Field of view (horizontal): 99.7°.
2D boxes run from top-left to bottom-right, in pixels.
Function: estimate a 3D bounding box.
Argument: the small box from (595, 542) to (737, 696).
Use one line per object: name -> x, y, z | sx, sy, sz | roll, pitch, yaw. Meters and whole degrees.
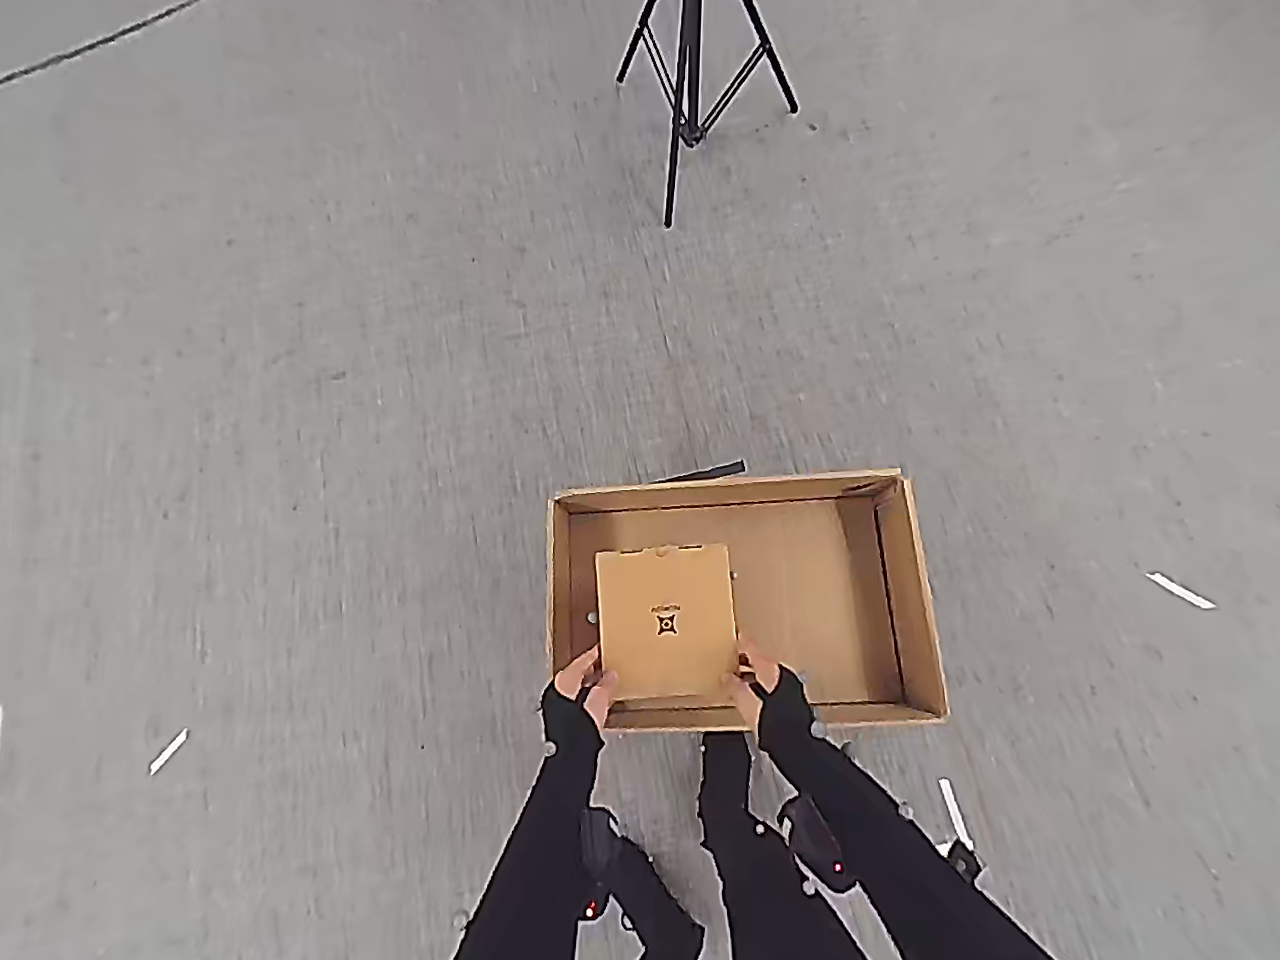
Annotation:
small box -> 0.034, 0.182, 0.733 | 0.168, 0.176, 0.179 | -5, 78, 2
